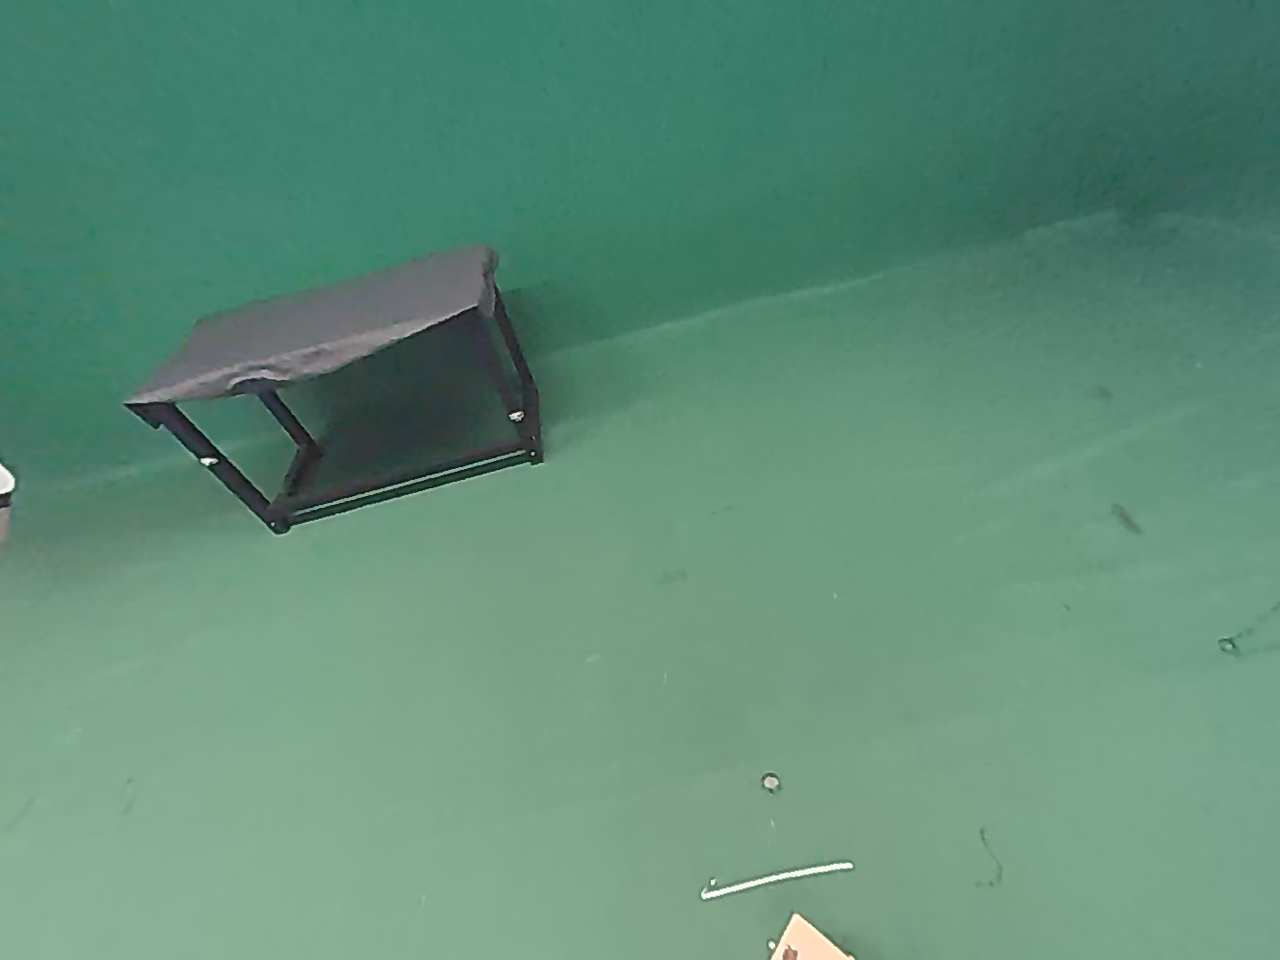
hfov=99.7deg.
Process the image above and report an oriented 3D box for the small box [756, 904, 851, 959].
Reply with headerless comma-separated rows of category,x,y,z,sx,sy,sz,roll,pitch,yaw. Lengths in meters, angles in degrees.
small box,0.287,0.882,0.925,0.179,0.176,0.168,25,56,35
